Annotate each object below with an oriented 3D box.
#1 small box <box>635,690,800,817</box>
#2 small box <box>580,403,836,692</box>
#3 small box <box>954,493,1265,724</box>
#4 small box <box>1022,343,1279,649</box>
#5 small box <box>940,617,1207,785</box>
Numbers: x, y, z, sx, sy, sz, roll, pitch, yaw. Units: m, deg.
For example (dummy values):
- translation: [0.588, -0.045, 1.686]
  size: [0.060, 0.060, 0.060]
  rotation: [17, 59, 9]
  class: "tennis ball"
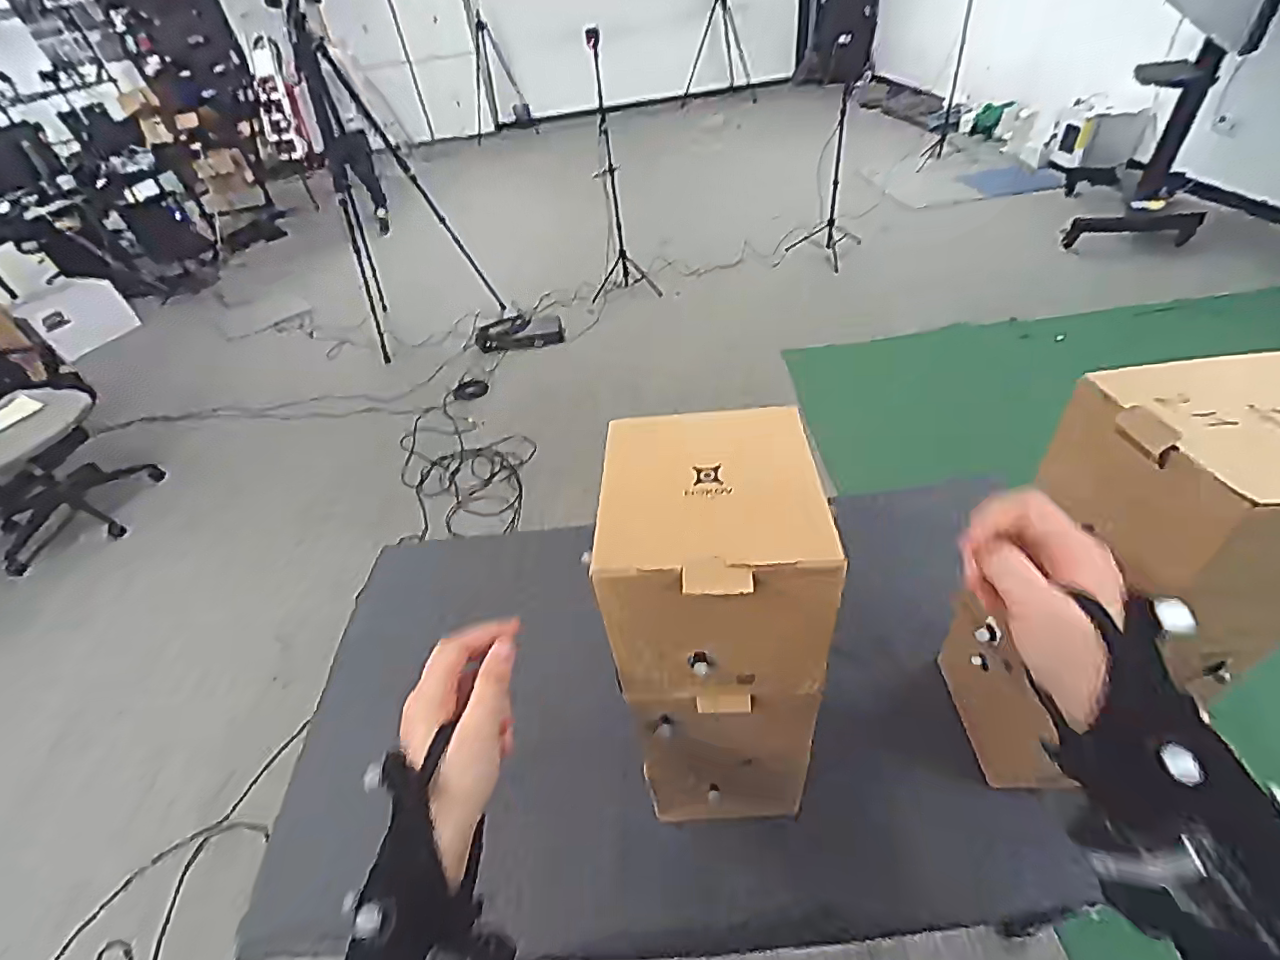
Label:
- translation: [0.091, 0.300, 0.673]
  size: [0.179, 0.176, 0.168]
  rotation: [-7, 42, 4]
  class: "small box"
- translation: [0.052, 0.056, 0.457]
  size: [0.168, 0.176, 0.179]
  rotation: [-4, 42, 5]
  class: "small box"
- translation: [0.460, 0.123, 0.550]
  size: [0.179, 0.176, 0.168]
  rotation: [-10, 40, 2]
  class: "small box"
- translation: [0.452, 0.013, 0.425]
  size: [0.179, 0.176, 0.168]
  rotation: [-6, 39, 5]
  class: "small box"
- translation: [0.491, 0.244, 0.654]
  size: [0.168, 0.176, 0.179]
  rotation: [-5, 42, 7]
  class: "small box"
